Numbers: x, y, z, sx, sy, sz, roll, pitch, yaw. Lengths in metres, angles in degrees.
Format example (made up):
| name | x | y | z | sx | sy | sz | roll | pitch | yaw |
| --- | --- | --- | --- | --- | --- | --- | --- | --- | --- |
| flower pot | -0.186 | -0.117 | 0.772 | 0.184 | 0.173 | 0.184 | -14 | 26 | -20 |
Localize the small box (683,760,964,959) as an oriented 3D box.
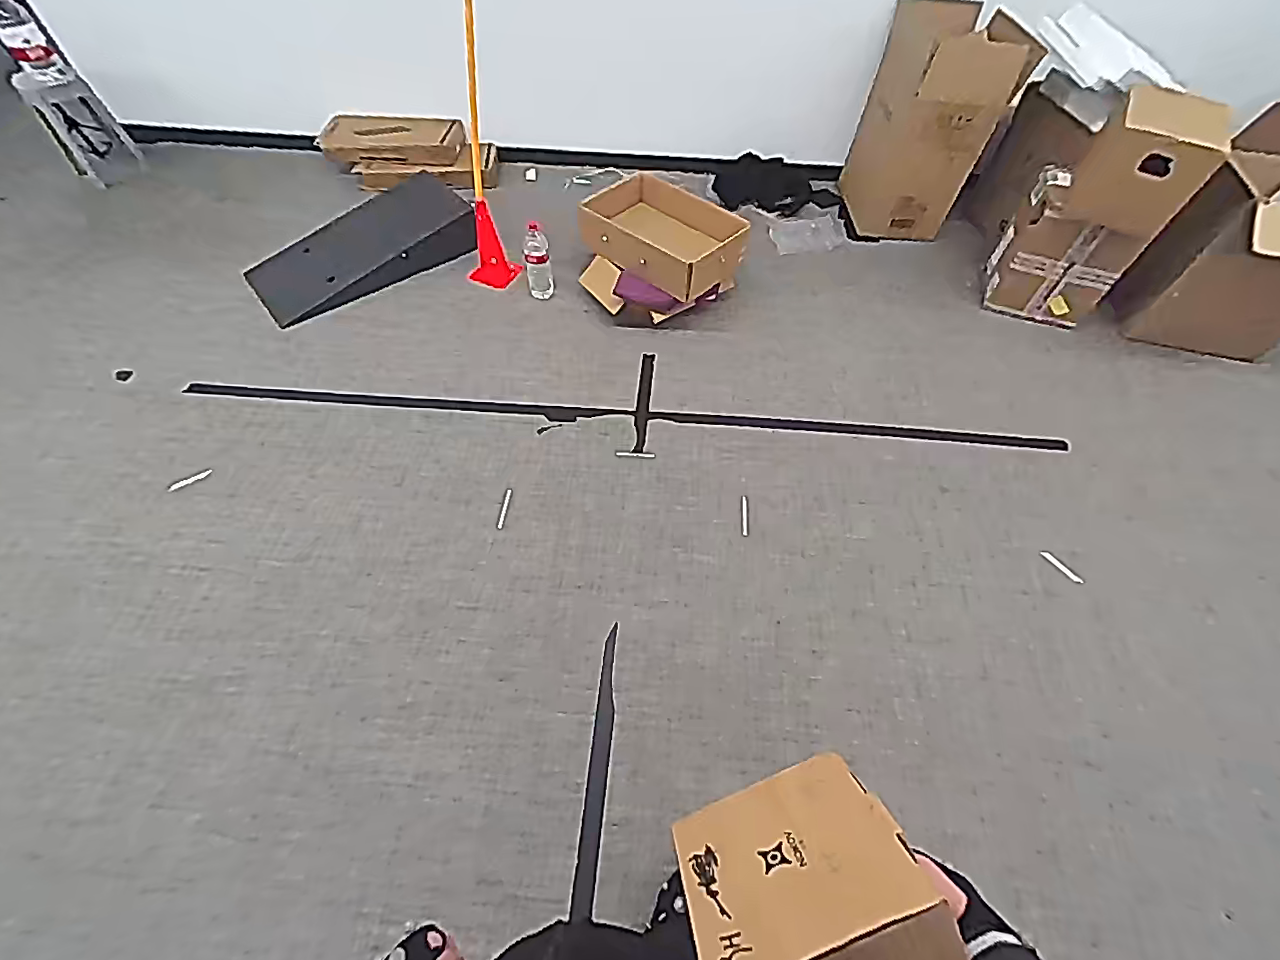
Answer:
| name | x | y | z | sx | sy | sz | roll | pitch | yaw |
| --- | --- | --- | --- | --- | --- | --- | --- | --- | --- |
| small box | 0.156 | 0.390 | 0.460 | 0.179 | 0.168 | 0.176 | -22 | 97 | -3 |
